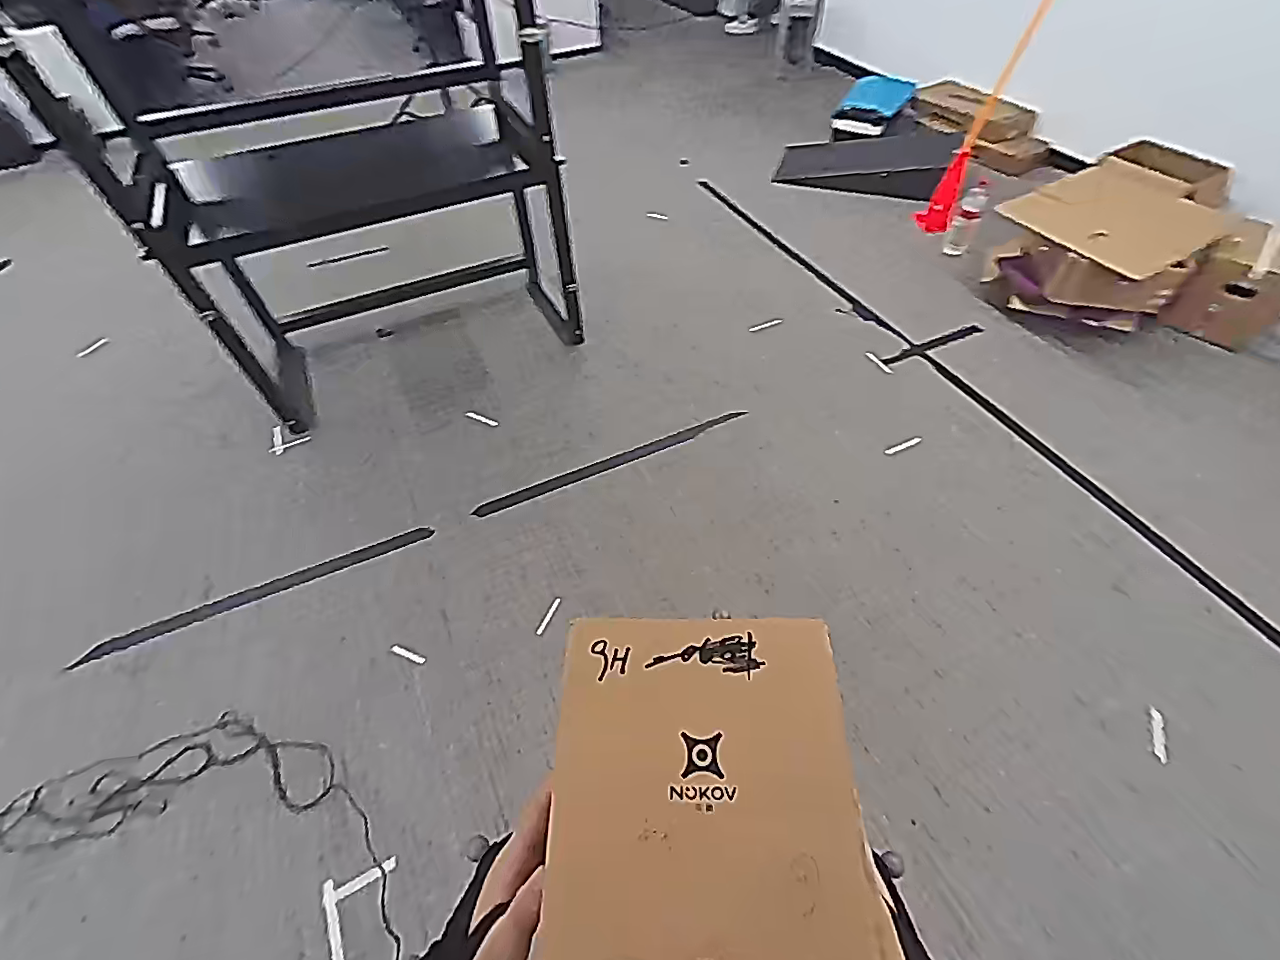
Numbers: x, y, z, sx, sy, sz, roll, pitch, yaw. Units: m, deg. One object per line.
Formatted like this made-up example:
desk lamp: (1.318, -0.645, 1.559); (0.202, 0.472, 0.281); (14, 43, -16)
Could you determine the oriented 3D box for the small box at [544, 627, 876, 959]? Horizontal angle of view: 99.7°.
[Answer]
small box: (0.039, 0.211, 0.371); (0.168, 0.176, 0.179); (-1, 57, 2)
